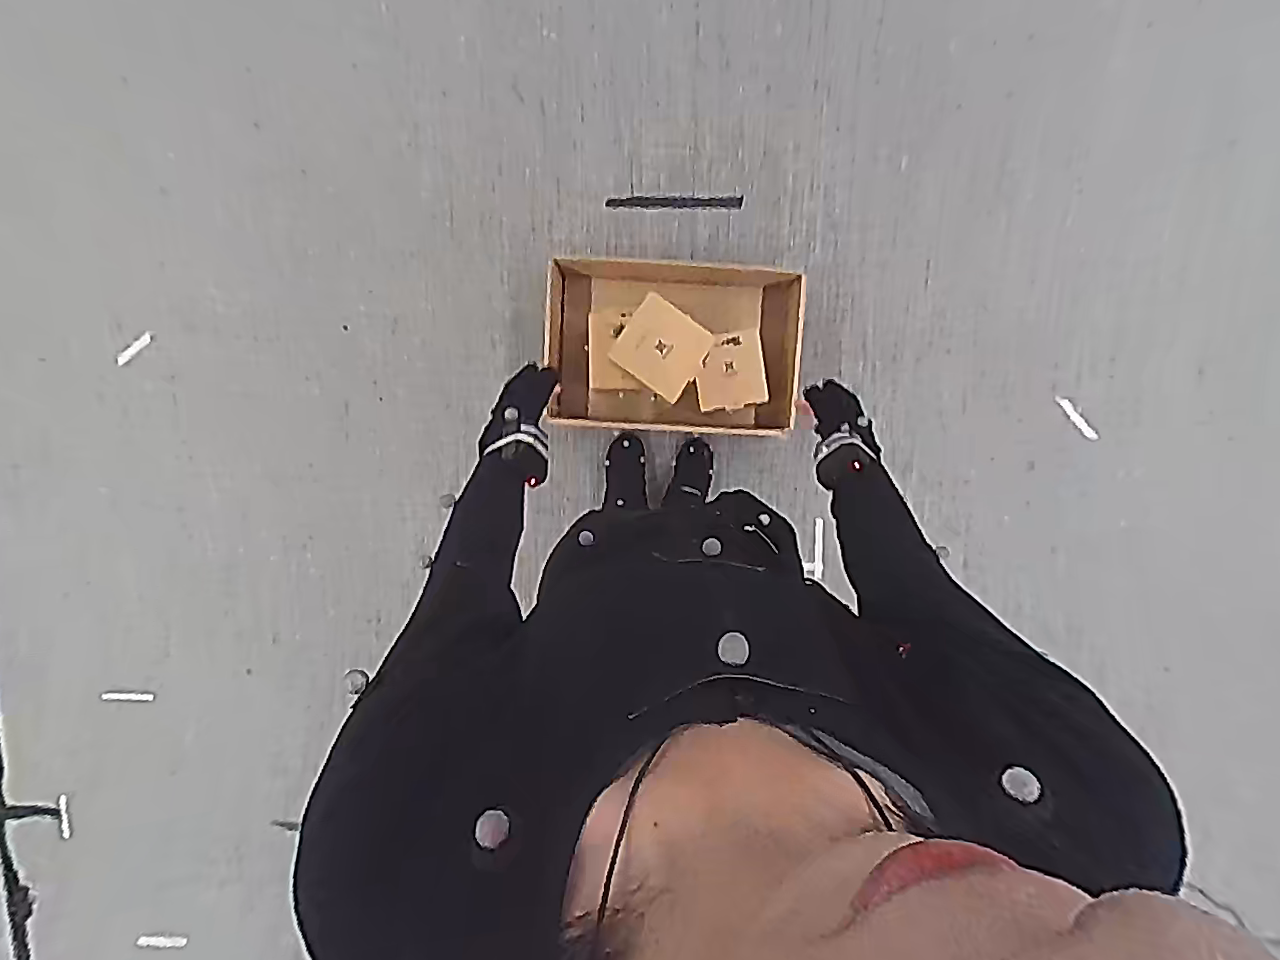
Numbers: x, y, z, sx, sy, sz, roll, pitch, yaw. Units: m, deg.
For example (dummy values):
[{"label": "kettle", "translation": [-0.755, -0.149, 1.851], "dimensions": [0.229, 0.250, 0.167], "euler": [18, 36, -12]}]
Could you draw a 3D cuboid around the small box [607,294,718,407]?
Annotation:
[{"label": "small box", "translation": [0.047, -0.274, 1.192], "dimensions": [0.179, 0.176, 0.168], "euler": [34, 93, -2]}]
